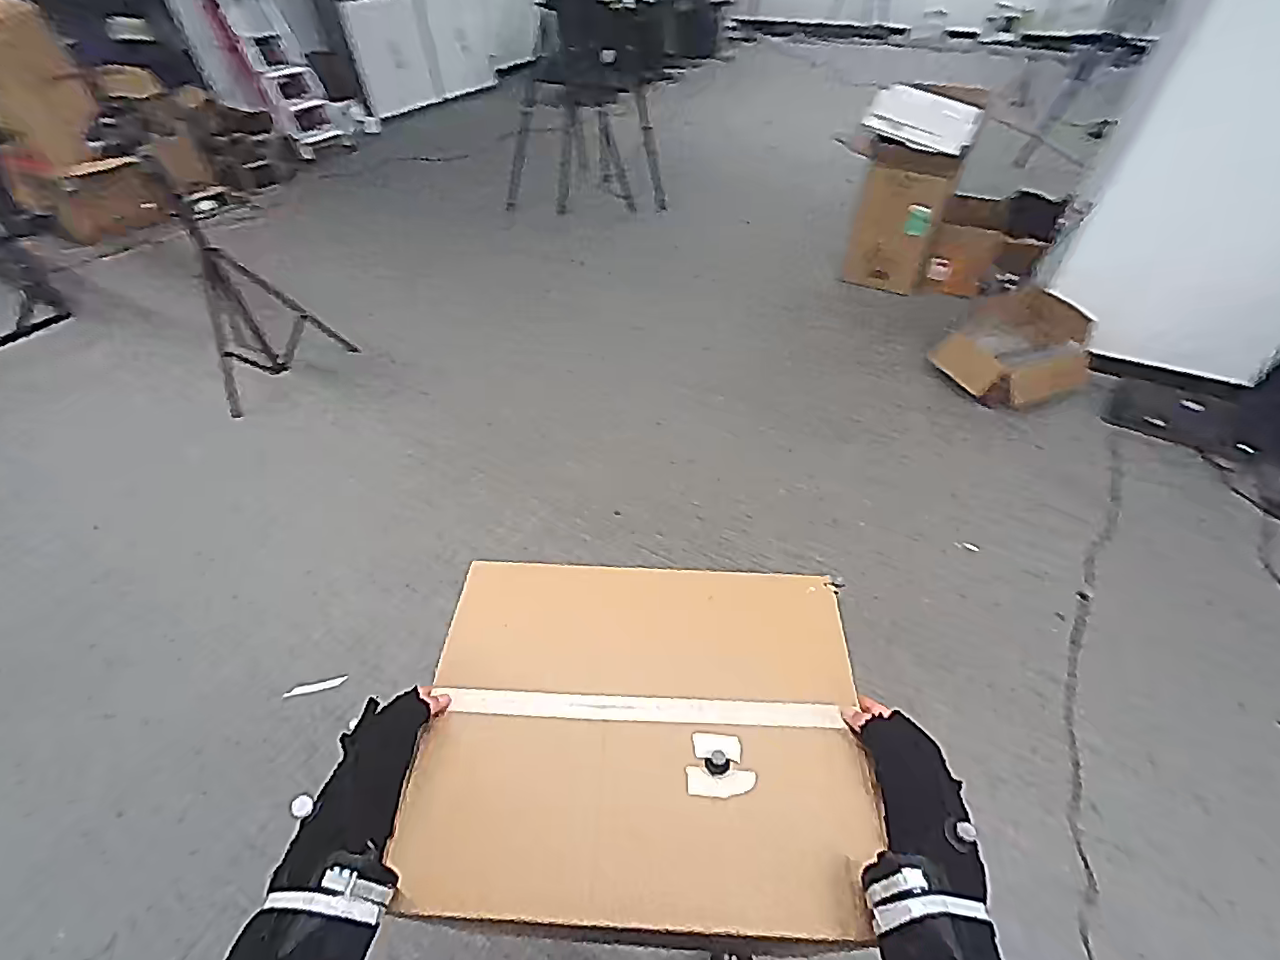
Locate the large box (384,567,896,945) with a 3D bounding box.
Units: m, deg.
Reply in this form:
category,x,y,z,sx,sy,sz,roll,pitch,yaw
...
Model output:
category,x,y,z,sx,sy,sz,roll,pitch,yaw
large box,0.000,0.318,0.621,0.408,0.320,0.320,2,47,1
